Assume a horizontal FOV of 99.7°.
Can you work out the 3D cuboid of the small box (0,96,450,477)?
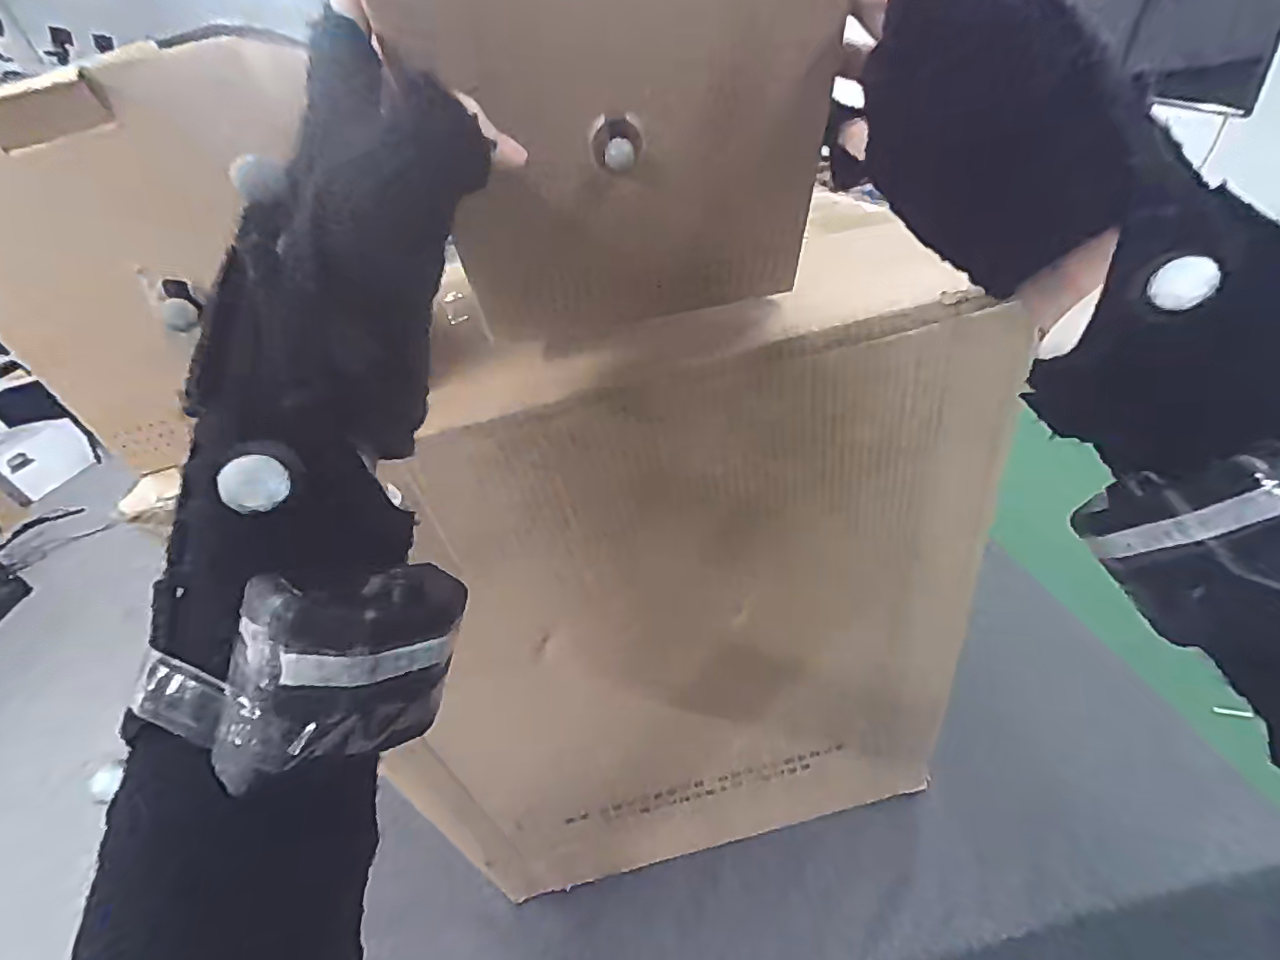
[{"bbox_3d":[-0.236,-0.121,0.347,0.168,0.176,0.179,-19,38,-4],"label":"small box"}]

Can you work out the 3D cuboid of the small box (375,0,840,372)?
[{"bbox_3d":[-0.018,-0.186,0.305,0.179,0.176,0.168,-11,54,-3],"label":"small box"}]
